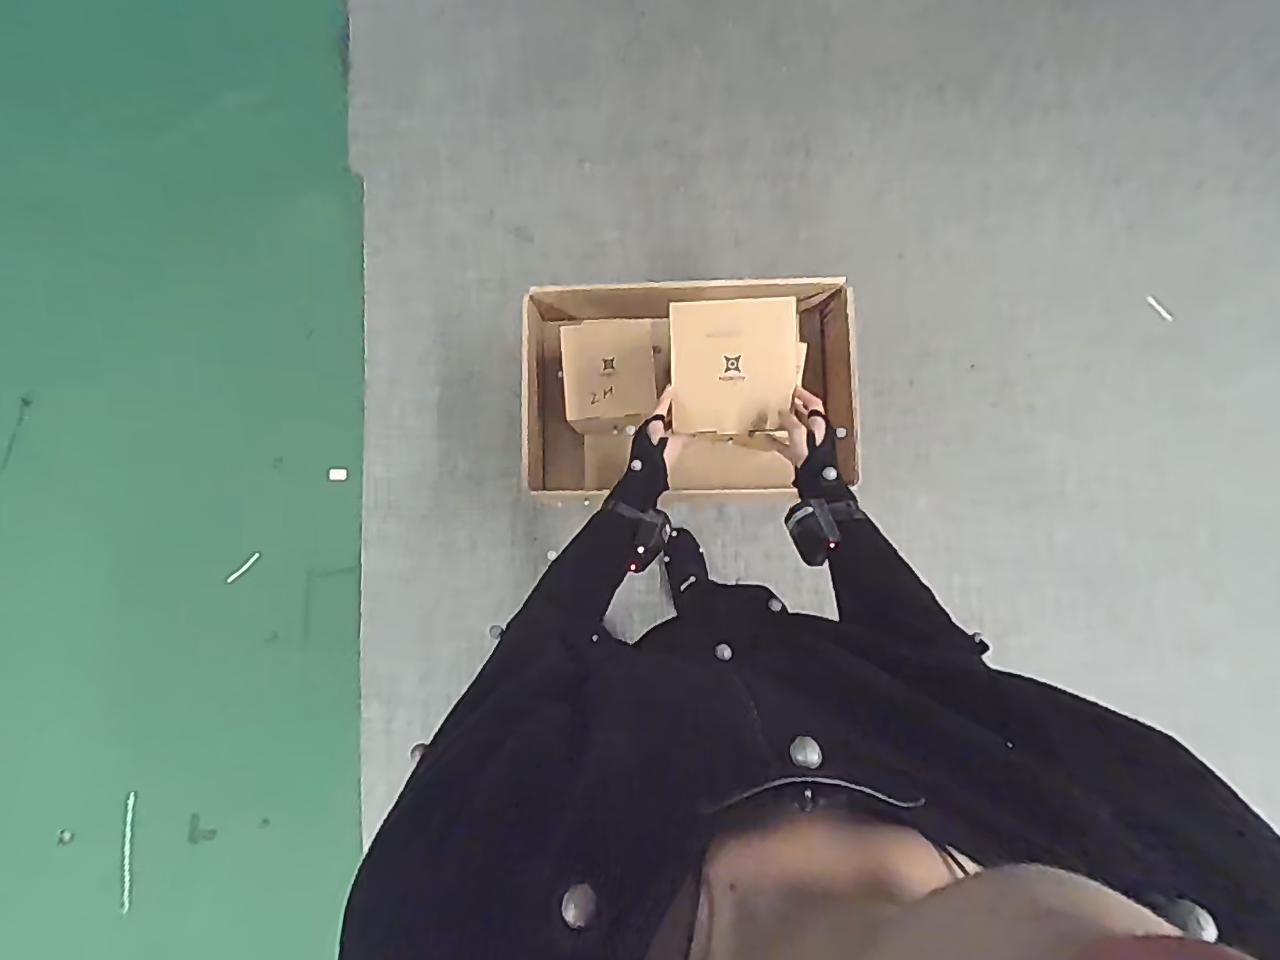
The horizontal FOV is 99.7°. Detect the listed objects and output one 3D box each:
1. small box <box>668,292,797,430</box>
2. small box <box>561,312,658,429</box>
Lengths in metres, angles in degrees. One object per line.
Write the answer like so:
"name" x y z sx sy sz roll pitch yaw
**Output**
"small box" 0.124 -0.167 0.780 0.168 0.176 0.179 -1 100 4
"small box" -0.054 -0.202 1.032 0.168 0.176 0.179 -4 86 1
